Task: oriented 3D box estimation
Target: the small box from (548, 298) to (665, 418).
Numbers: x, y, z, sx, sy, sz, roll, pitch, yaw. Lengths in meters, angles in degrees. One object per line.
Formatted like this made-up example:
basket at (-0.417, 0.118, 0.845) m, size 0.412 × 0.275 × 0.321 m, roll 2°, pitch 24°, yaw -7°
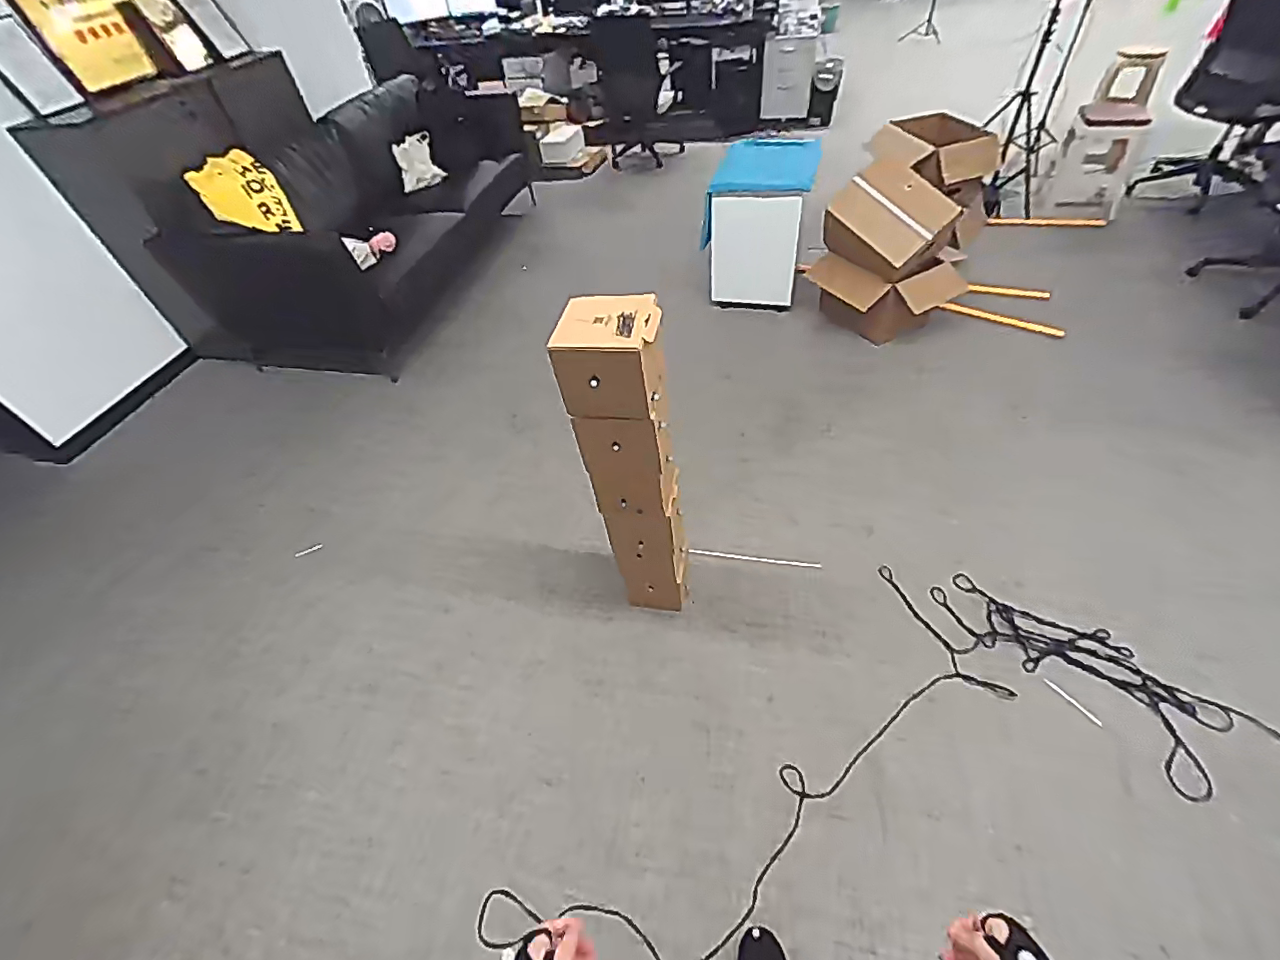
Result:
small box at (-0.054, -0.236, 1.057) m, size 0.179 × 0.176 × 0.168 m, roll 4°, pitch 50°, yaw 15°

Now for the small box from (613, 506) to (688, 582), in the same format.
small box at (0.037, 0.178, 1.556) m, size 0.179 × 0.176 × 0.168 m, roll 5°, pitch 50°, yaw 13°

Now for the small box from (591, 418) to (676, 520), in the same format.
small box at (-0.007, -0.028, 1.306) m, size 0.168 × 0.176 × 0.179 m, roll 3°, pitch 50°, yaw 12°

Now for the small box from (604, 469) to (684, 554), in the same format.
small box at (0.019, 0.080, 1.426) m, size 0.179 × 0.176 × 0.168 m, roll 4°, pitch 49°, yaw 12°

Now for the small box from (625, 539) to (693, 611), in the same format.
small box at (0.065, 0.289, 1.673) m, size 0.179 × 0.176 × 0.168 m, roll 5°, pitch 49°, yaw 13°
